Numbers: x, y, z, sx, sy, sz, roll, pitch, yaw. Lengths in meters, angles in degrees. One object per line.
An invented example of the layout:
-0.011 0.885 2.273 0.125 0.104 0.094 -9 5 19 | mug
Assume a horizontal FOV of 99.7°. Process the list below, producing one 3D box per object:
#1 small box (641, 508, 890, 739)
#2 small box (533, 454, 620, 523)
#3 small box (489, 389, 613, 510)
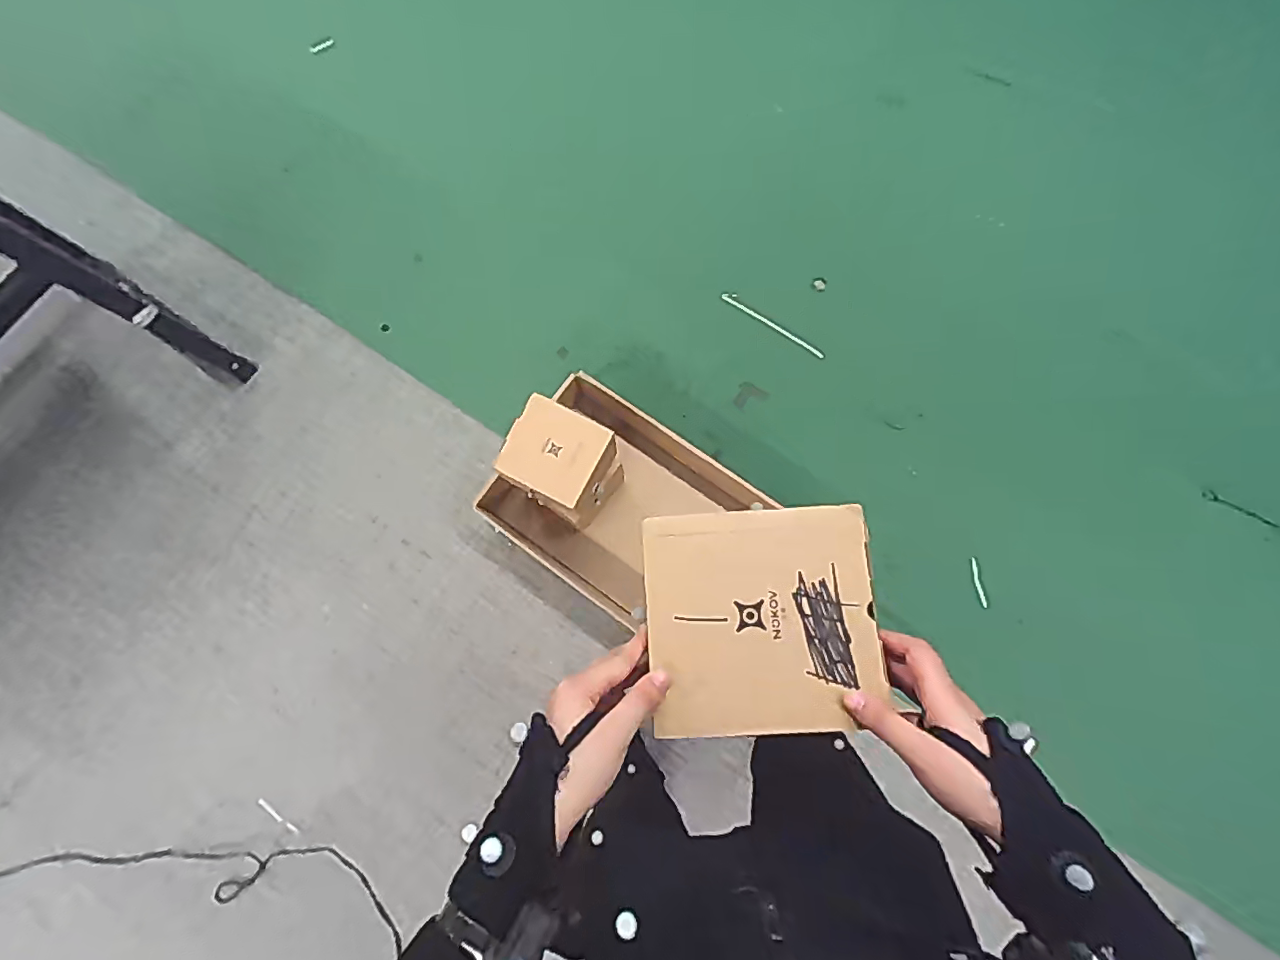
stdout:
0.093 0.122 0.484 0.179 0.176 0.168 -4 76 1 | small box
-0.162 -0.016 1.233 0.179 0.176 0.168 37 82 7 | small box
-0.166 -0.050 1.072 0.179 0.176 0.168 27 82 3 | small box
